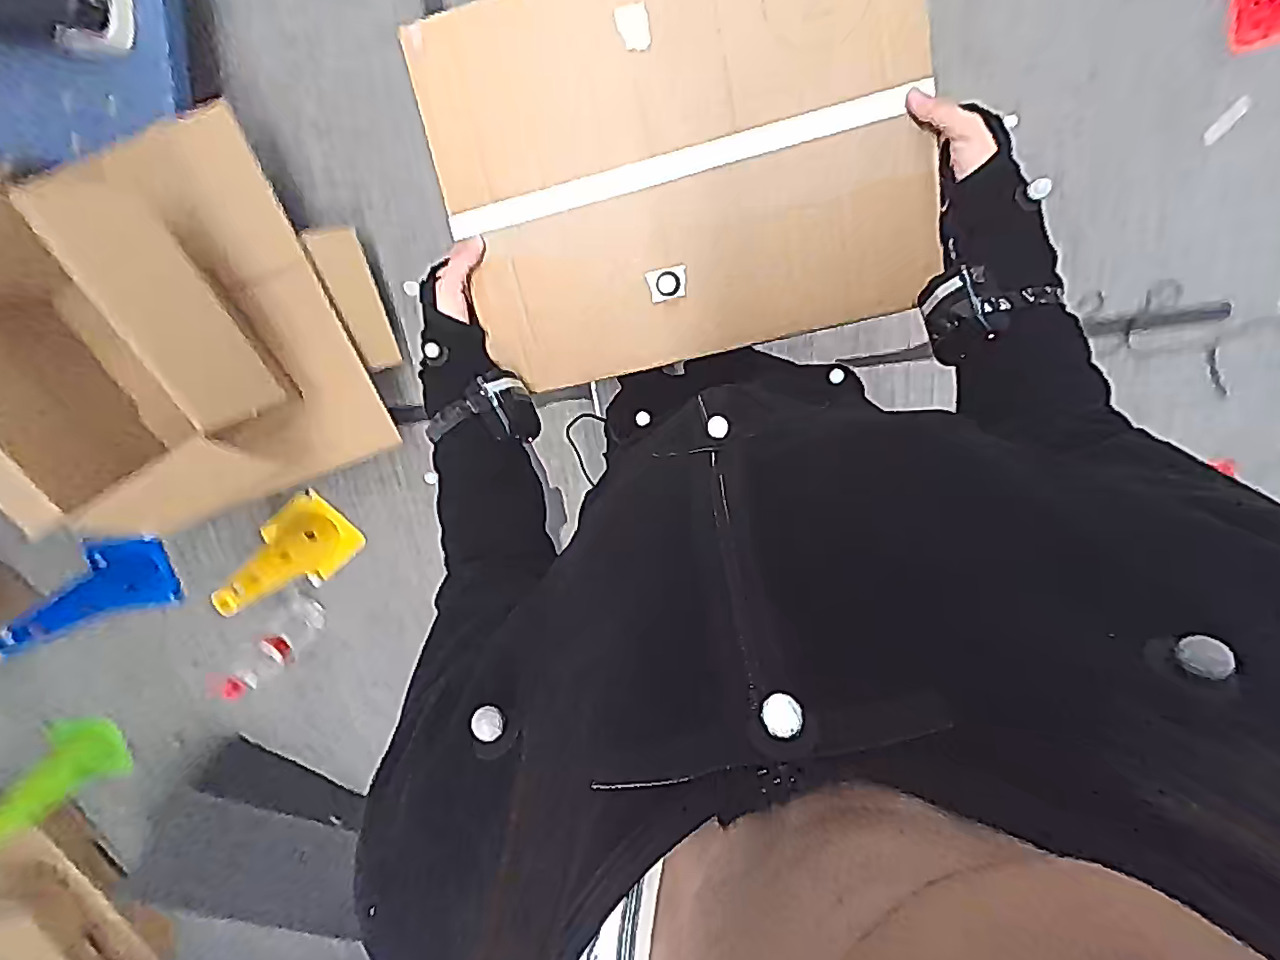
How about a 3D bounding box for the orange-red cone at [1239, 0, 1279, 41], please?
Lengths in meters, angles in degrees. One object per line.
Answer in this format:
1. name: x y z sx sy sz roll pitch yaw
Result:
1. orange-red cone: 1.419 -1.045 1.019 0.198 0.360 0.199 -17 106 1
